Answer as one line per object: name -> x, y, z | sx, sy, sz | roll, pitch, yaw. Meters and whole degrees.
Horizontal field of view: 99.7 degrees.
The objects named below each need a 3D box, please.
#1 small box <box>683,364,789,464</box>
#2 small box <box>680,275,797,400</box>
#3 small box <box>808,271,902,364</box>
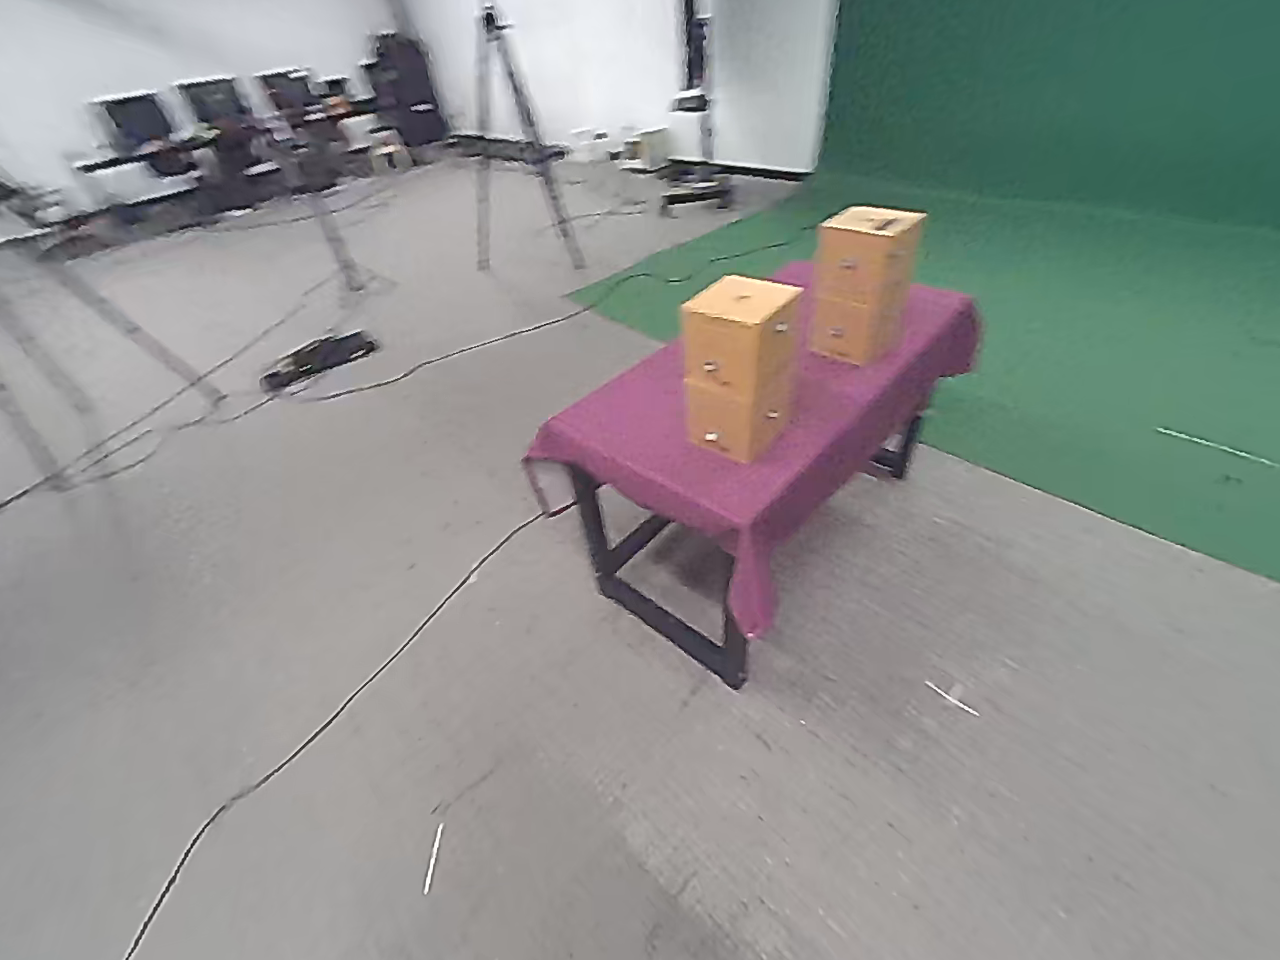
small box -> 0.212, -0.168, 1.205 | 0.168, 0.176, 0.179 | 26, 52, 32
small box -> 0.198, -0.291, 1.101 | 0.168, 0.176, 0.179 | 25, 52, 31
small box -> 0.568, -0.434, 1.448 | 0.179, 0.176, 0.168 | -36, 49, -28
